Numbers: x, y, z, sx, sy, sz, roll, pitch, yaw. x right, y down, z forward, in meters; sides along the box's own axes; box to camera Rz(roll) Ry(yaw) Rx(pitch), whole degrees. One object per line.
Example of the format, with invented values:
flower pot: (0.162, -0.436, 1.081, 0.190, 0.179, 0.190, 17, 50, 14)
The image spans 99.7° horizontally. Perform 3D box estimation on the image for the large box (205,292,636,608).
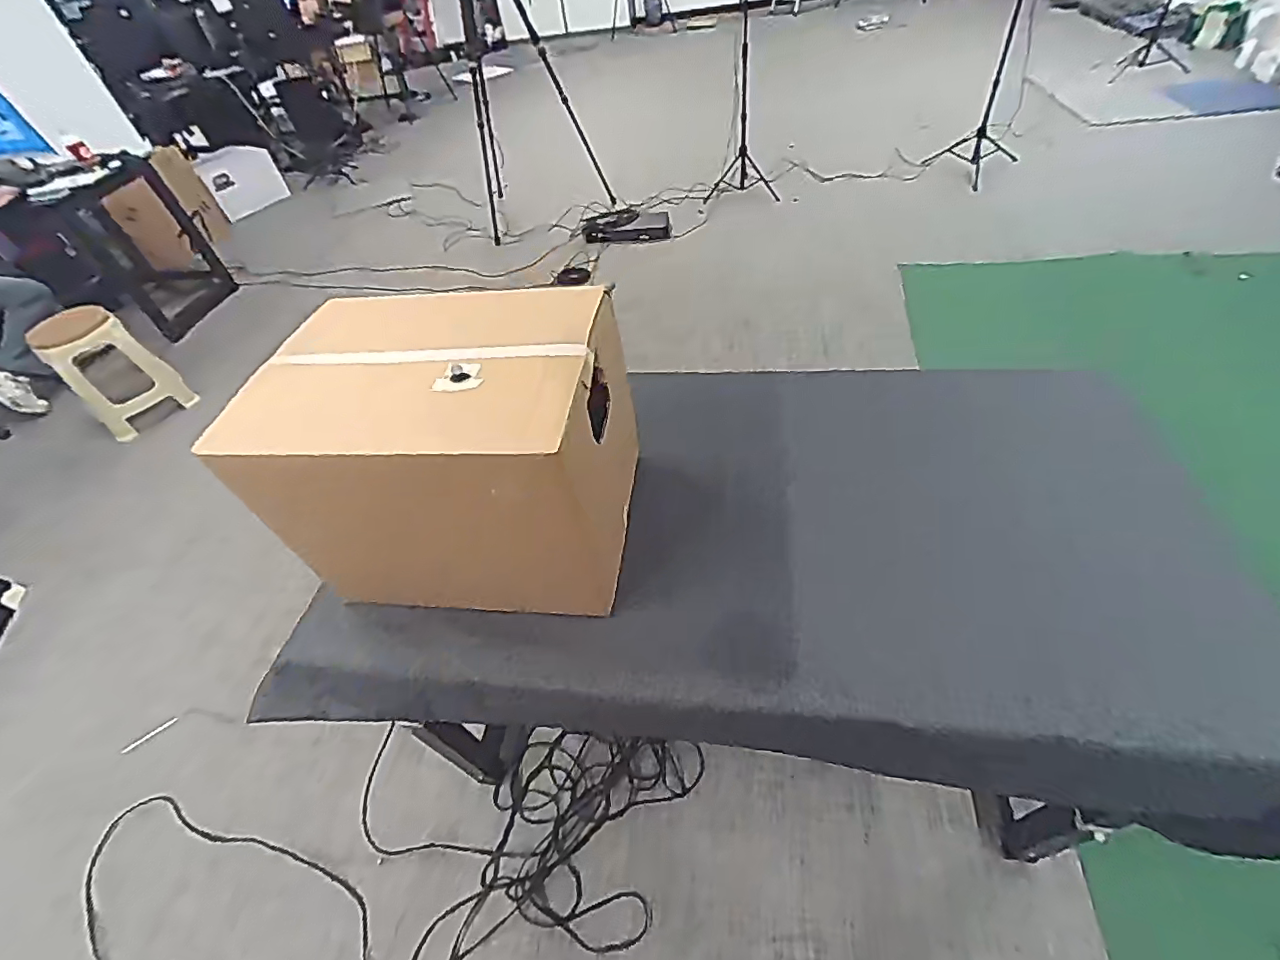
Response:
large box: (-0.232, -0.037, 0.743, 0.408, 0.320, 0.320, 1, 48, 8)
